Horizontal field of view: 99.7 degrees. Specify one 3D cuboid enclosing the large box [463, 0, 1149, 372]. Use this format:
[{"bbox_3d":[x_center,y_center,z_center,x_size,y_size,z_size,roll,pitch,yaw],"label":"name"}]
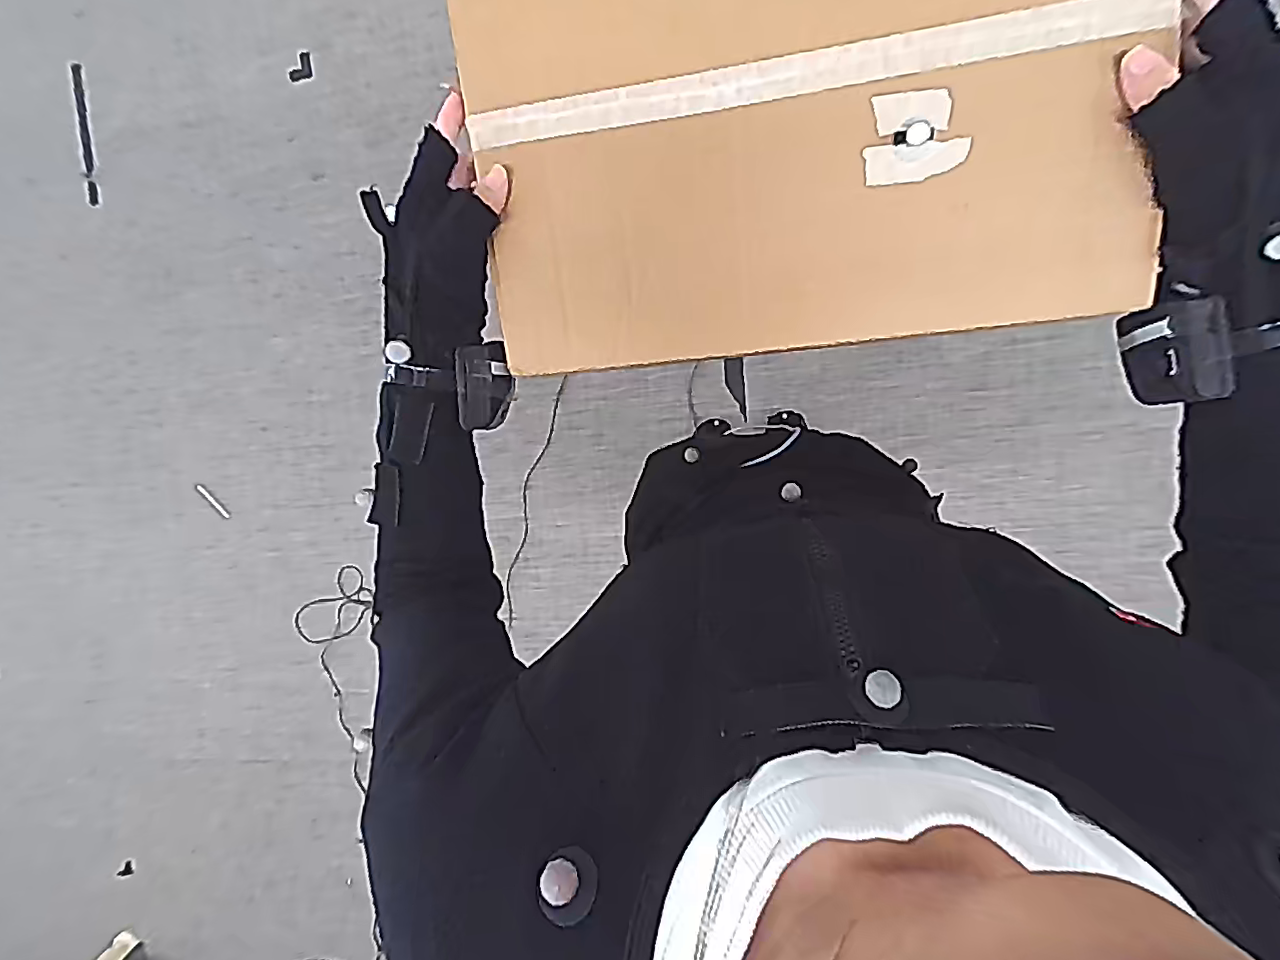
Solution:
[{"bbox_3d":[0.107,-0.278,0.478,0.408,0.320,0.320,-5,103,7],"label":"large box"}]
